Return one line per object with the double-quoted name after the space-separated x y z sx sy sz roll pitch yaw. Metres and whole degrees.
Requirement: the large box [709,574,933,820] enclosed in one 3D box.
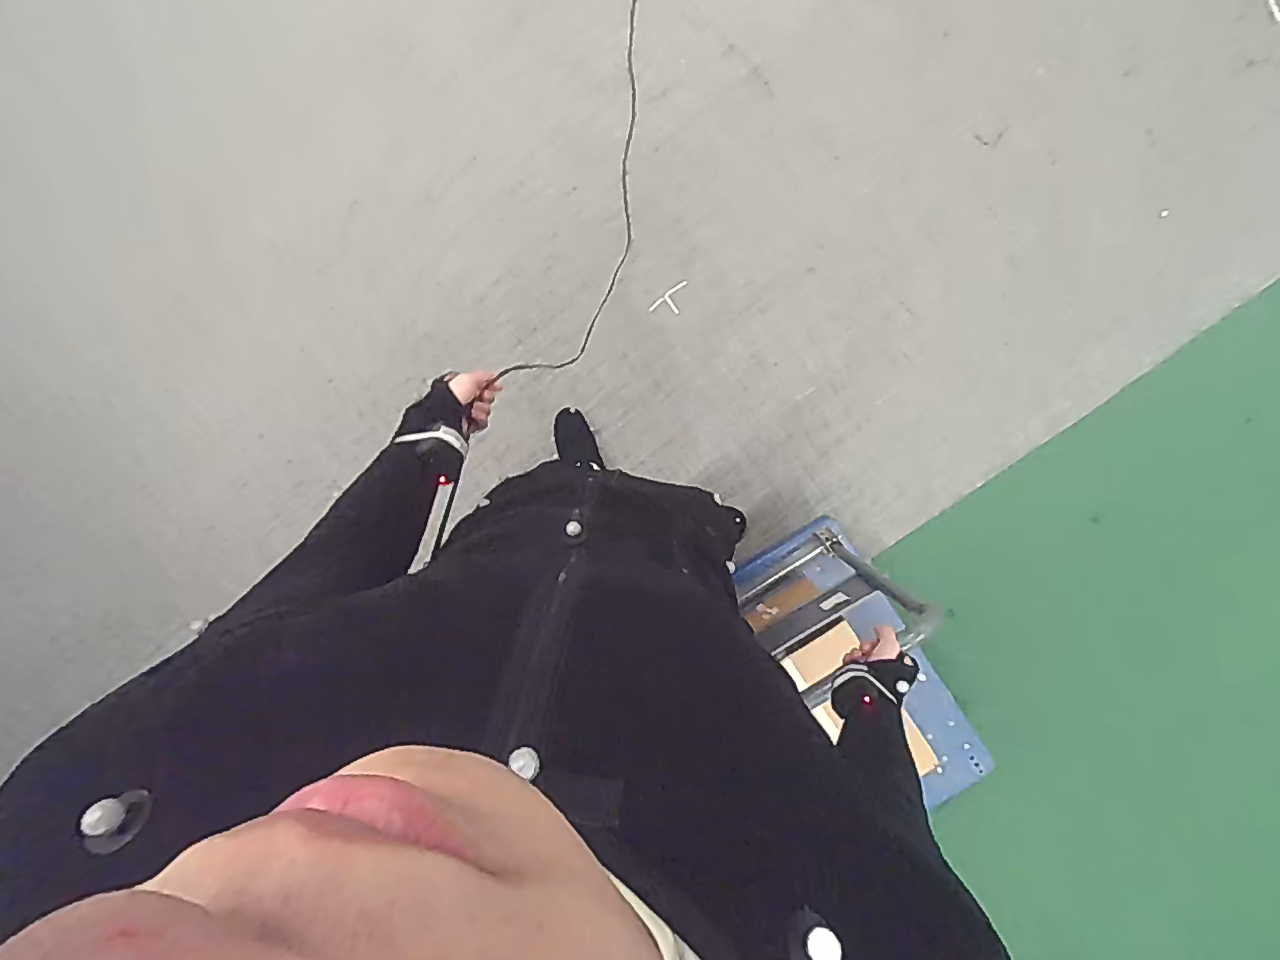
0.420 0.514 1.348 0.320 0.320 0.408 -34 96 6 "large box"
